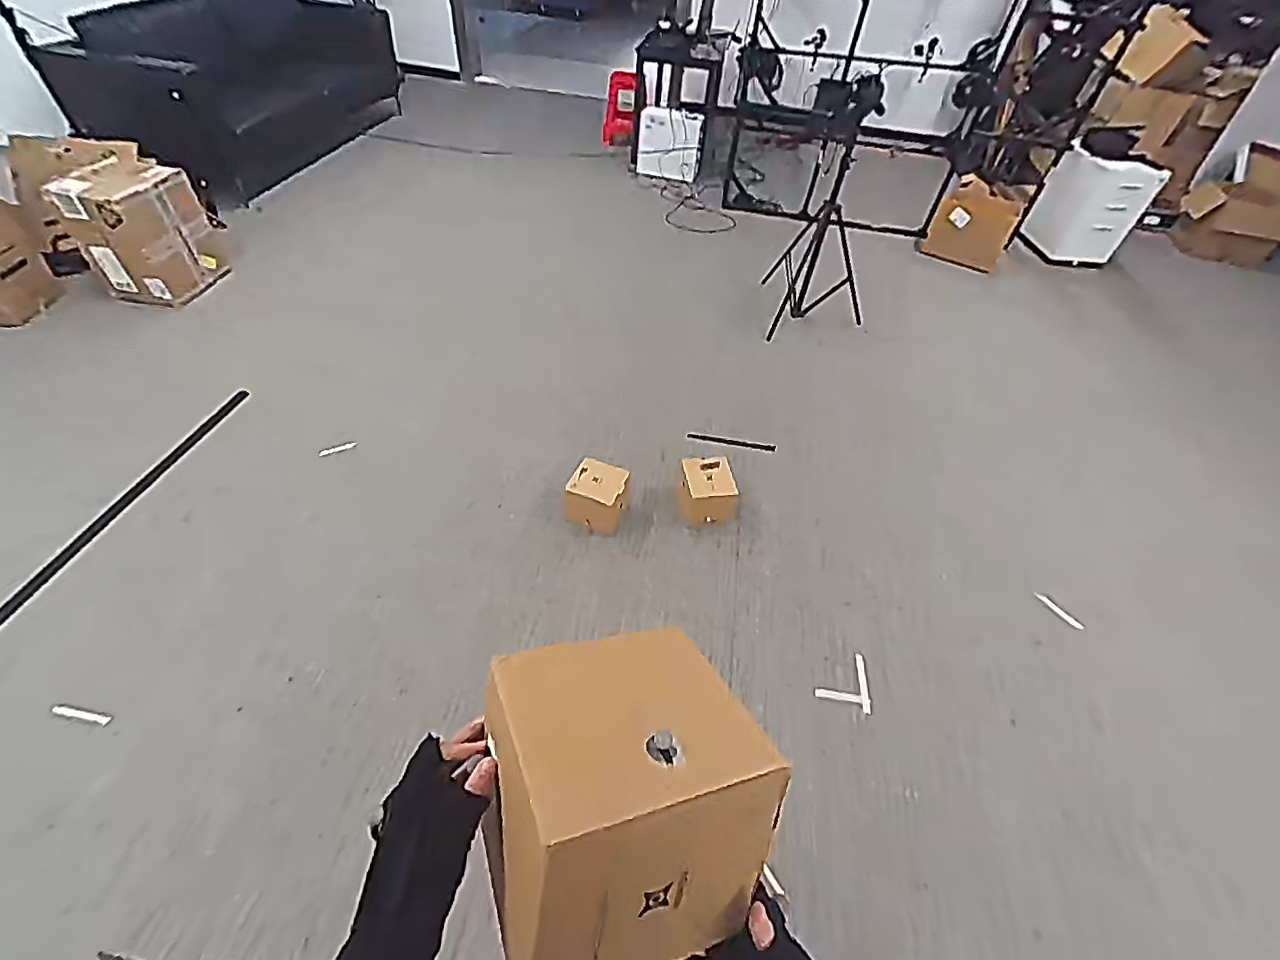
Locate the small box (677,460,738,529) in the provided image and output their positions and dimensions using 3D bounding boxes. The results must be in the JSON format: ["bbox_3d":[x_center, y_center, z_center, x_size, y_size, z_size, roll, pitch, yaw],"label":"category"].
[{"bbox_3d":[0.233,0.051,1.920,0.168,0.176,0.179,-4,49,-9],"label":"small box"}]

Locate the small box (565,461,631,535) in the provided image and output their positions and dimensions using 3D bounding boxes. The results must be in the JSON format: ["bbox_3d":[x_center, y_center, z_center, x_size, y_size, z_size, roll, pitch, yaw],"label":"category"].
[{"bbox_3d":[-0.145,0.067,1.872,0.179,0.176,0.168,19,48,12],"label":"small box"}]
